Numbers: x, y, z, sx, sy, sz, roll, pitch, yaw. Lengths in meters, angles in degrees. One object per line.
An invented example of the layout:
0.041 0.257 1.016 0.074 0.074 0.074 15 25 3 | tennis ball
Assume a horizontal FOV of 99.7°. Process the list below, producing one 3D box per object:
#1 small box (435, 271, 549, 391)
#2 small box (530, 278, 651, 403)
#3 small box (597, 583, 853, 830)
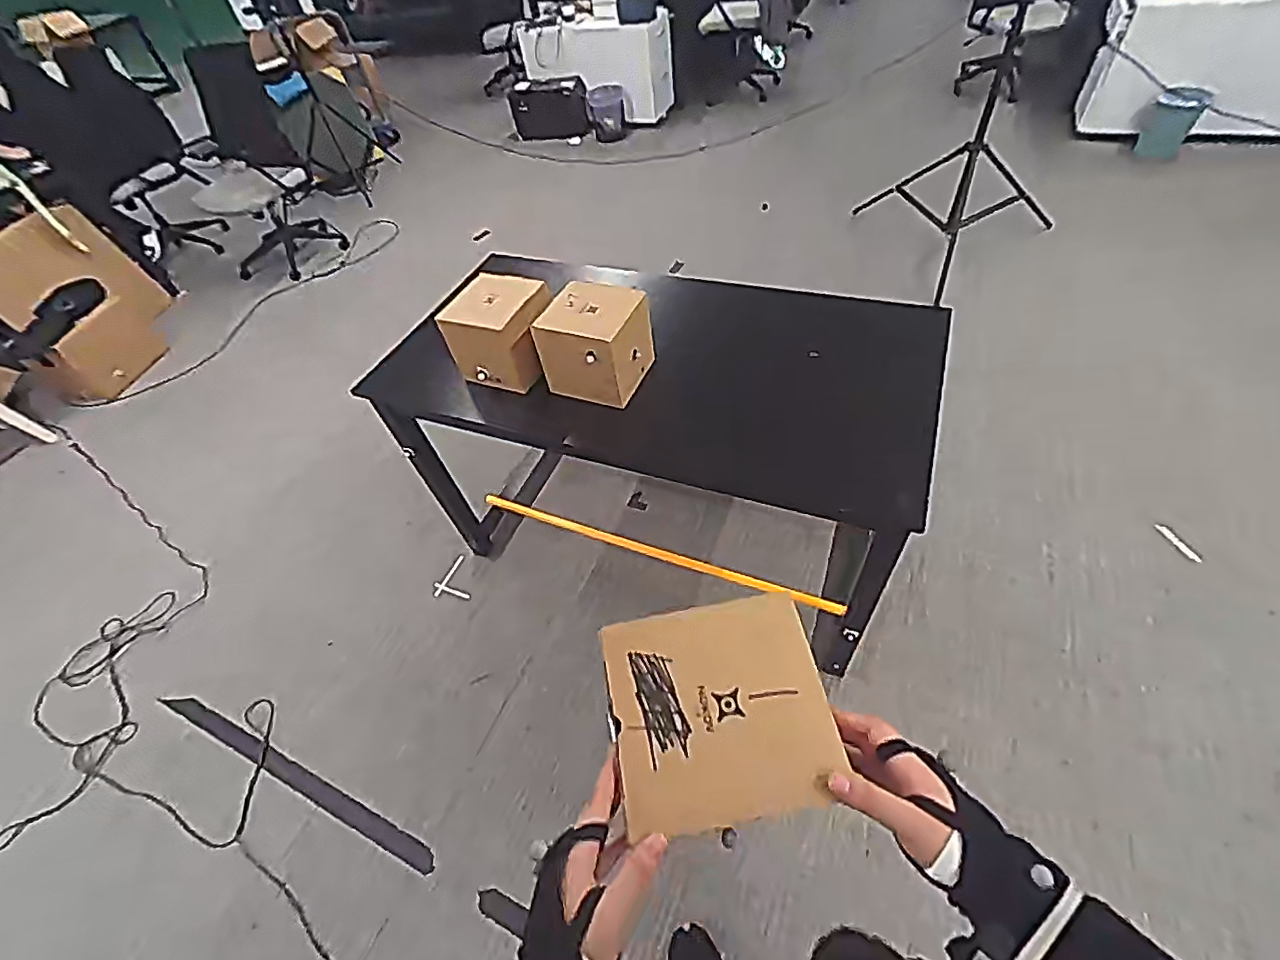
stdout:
-0.294 -0.319 1.157 0.168 0.176 0.179 13 55 20 | small box
-0.088 -0.278 1.091 0.179 0.176 0.168 16 55 20 | small box
0.066 0.215 0.499 0.179 0.176 0.168 -10 58 -2 | small box
